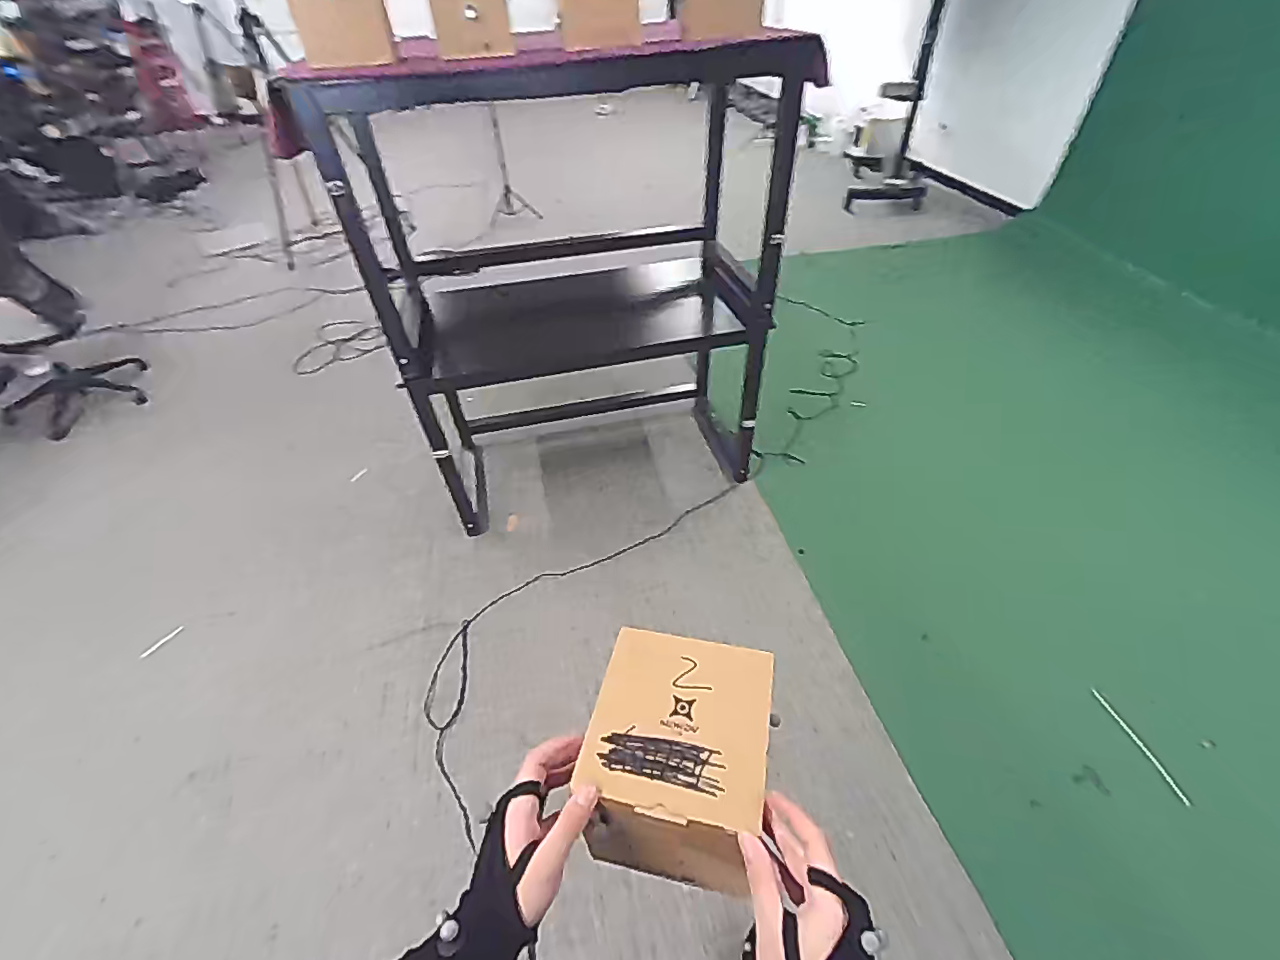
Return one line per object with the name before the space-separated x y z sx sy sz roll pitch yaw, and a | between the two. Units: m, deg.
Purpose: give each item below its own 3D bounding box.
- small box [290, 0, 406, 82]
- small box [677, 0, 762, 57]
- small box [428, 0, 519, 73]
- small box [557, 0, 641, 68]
small box | -0.625 -0.972 1.165 0.179 0.176 0.168 -11 44 -10
small box | 0.185 -1.119 1.277 0.179 0.176 0.168 -8 45 -5
small box | -0.371 -1.019 1.202 0.168 0.176 0.179 -11 43 -9
small box | -0.096 -1.069 1.243 0.179 0.176 0.168 -11 43 -7
